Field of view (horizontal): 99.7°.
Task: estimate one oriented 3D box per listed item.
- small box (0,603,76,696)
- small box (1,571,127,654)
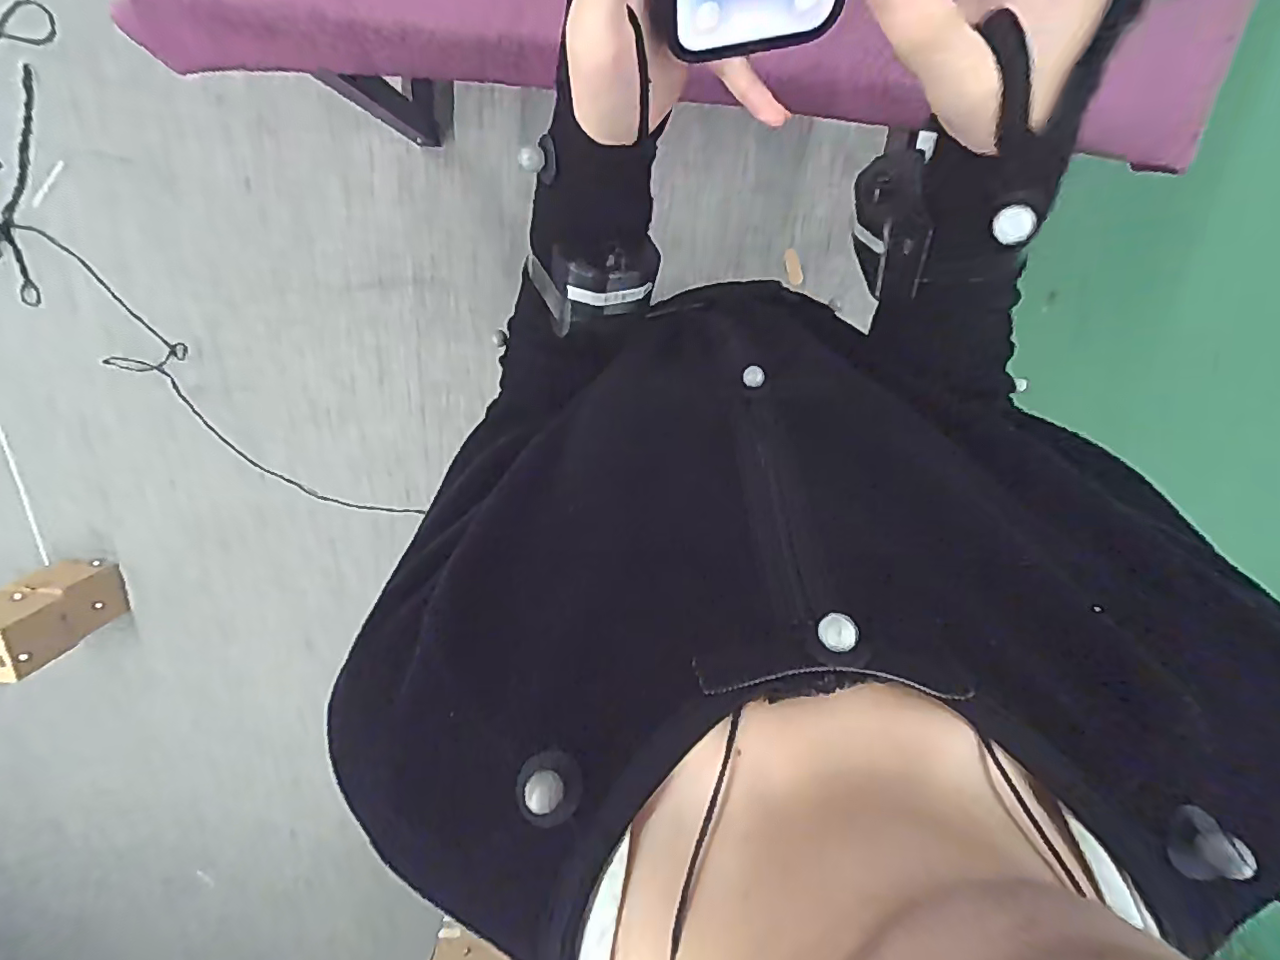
[{"bbox_3d":[-1.673,0.440,1.428,0.179,0.176,0.168,5,109,0],"label":"small box"},{"bbox_3d":[-1.672,0.383,1.582,0.168,0.176,0.179,4,109,0],"label":"small box"}]
